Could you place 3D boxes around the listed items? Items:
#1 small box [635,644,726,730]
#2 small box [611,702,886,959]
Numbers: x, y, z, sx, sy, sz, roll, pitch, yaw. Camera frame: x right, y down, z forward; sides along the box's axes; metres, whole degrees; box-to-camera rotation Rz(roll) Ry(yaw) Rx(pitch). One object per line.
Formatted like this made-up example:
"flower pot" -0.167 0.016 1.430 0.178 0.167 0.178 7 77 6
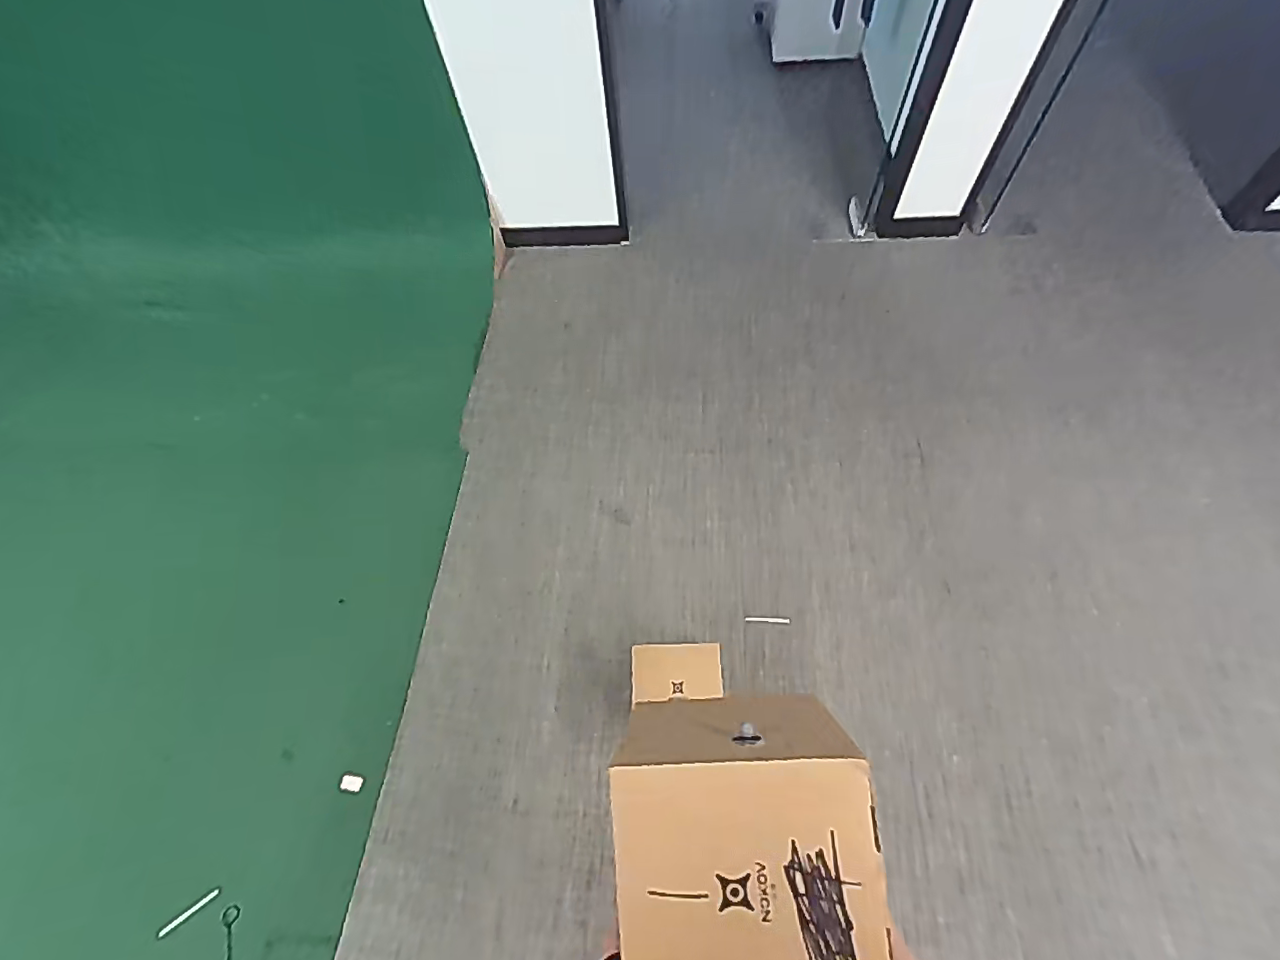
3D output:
"small box" 0.078 0.426 1.048 0.168 0.176 0.179 -3 62 4
"small box" 0.079 0.288 0.441 0.179 0.176 0.168 -6 81 7
